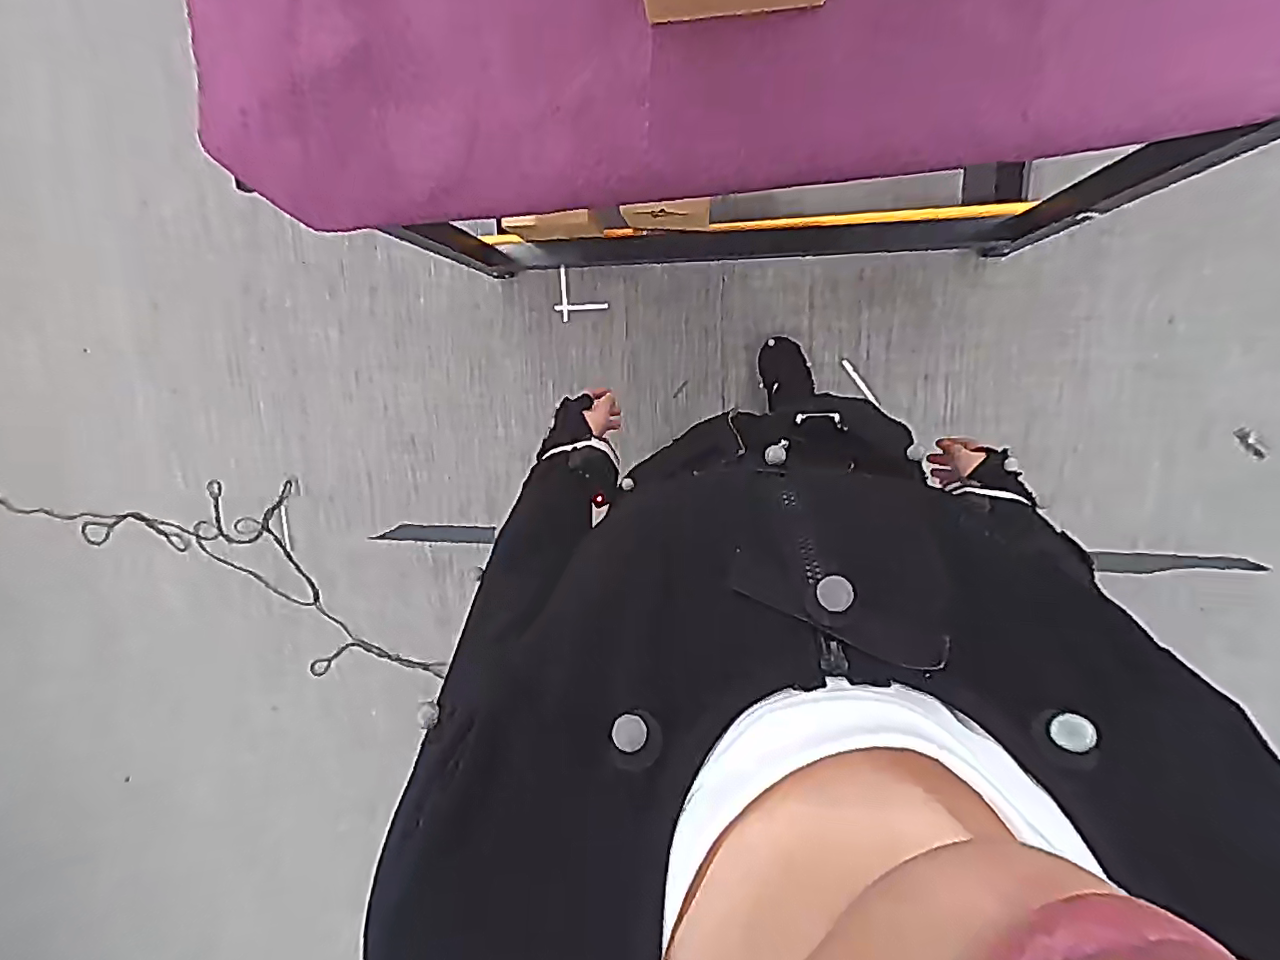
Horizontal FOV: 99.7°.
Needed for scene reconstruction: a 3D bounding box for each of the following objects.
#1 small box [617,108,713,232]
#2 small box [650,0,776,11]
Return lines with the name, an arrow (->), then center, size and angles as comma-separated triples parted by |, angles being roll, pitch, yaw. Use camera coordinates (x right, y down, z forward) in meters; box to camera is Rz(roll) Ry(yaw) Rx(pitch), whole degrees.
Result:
small box -> 0.055, -0.604, 1.073 | 0.168, 0.176, 0.179 | 6, 102, 6
small box -> 0.085, -0.536, 0.444 | 0.179, 0.176, 0.168 | 1, 100, 8
